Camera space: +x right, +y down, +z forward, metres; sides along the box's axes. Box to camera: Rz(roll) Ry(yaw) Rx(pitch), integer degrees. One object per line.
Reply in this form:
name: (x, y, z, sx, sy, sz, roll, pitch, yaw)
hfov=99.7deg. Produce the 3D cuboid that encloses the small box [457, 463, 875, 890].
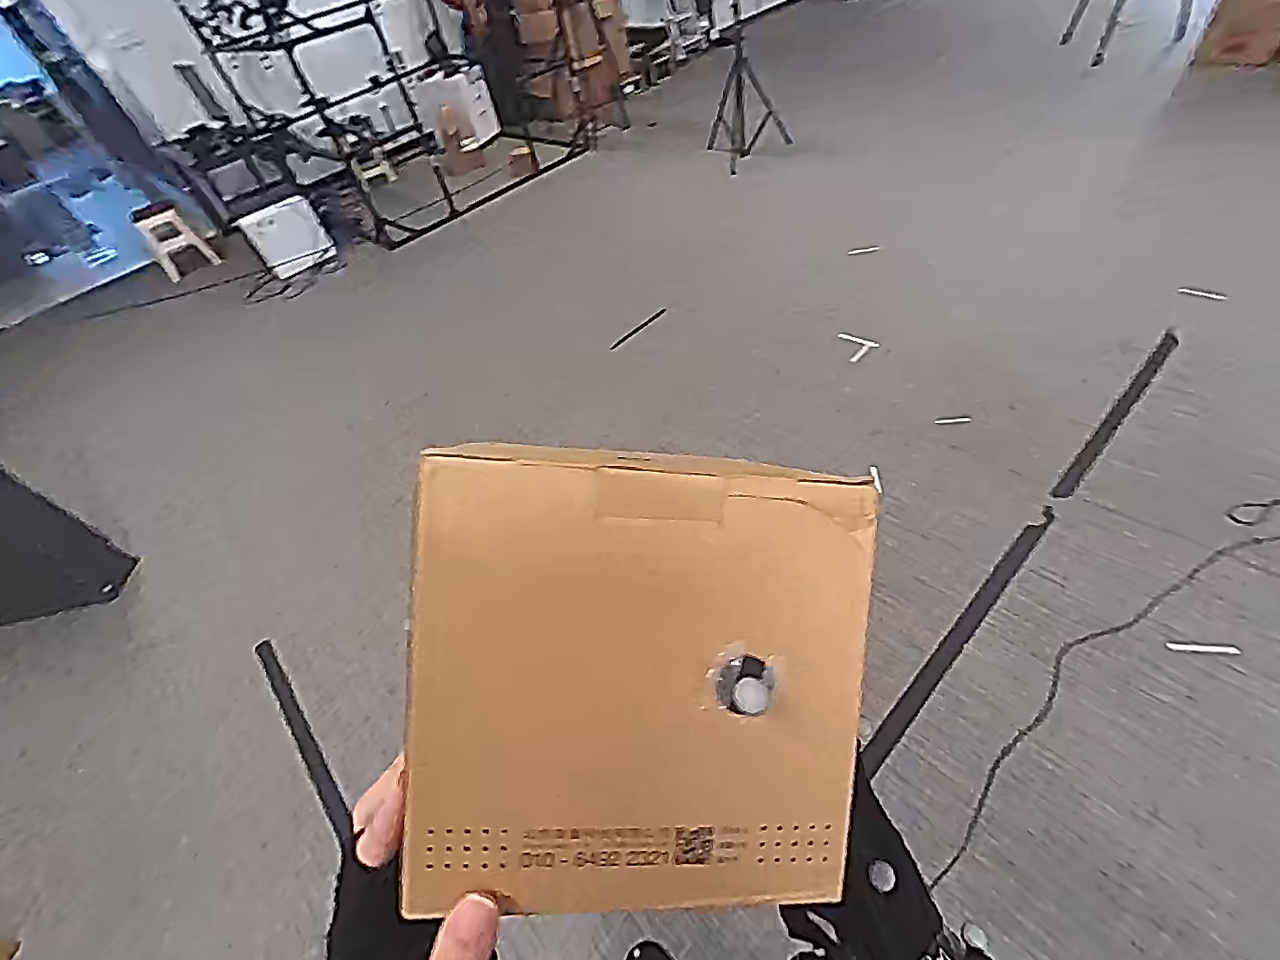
small box: (0.002, 0.083, 0.296, 0.168, 0.176, 0.179, 5, 3, -7)
